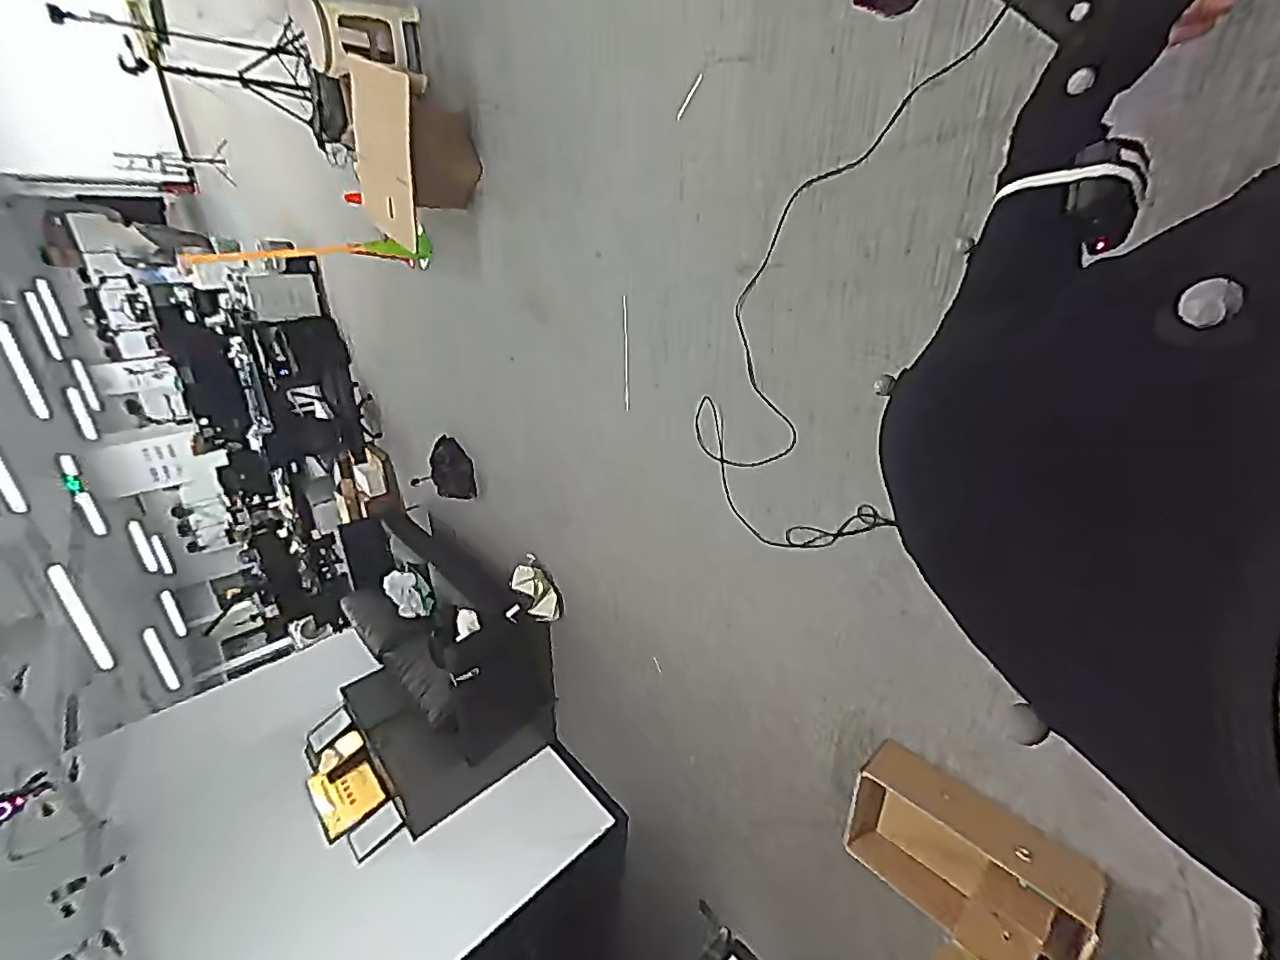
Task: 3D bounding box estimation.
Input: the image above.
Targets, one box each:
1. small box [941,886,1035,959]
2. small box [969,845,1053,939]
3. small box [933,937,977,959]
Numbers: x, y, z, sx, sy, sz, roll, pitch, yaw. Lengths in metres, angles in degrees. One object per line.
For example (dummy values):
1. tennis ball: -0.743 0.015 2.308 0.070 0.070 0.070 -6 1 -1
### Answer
1. small box: 0.921 1.254 1.444 0.168 0.176 0.179 24 125 43
2. small box: 1.041 1.204 1.542 0.168 0.176 0.179 25 126 42
3. small box: 0.802 1.310 1.347 0.168 0.176 0.179 23 125 45
